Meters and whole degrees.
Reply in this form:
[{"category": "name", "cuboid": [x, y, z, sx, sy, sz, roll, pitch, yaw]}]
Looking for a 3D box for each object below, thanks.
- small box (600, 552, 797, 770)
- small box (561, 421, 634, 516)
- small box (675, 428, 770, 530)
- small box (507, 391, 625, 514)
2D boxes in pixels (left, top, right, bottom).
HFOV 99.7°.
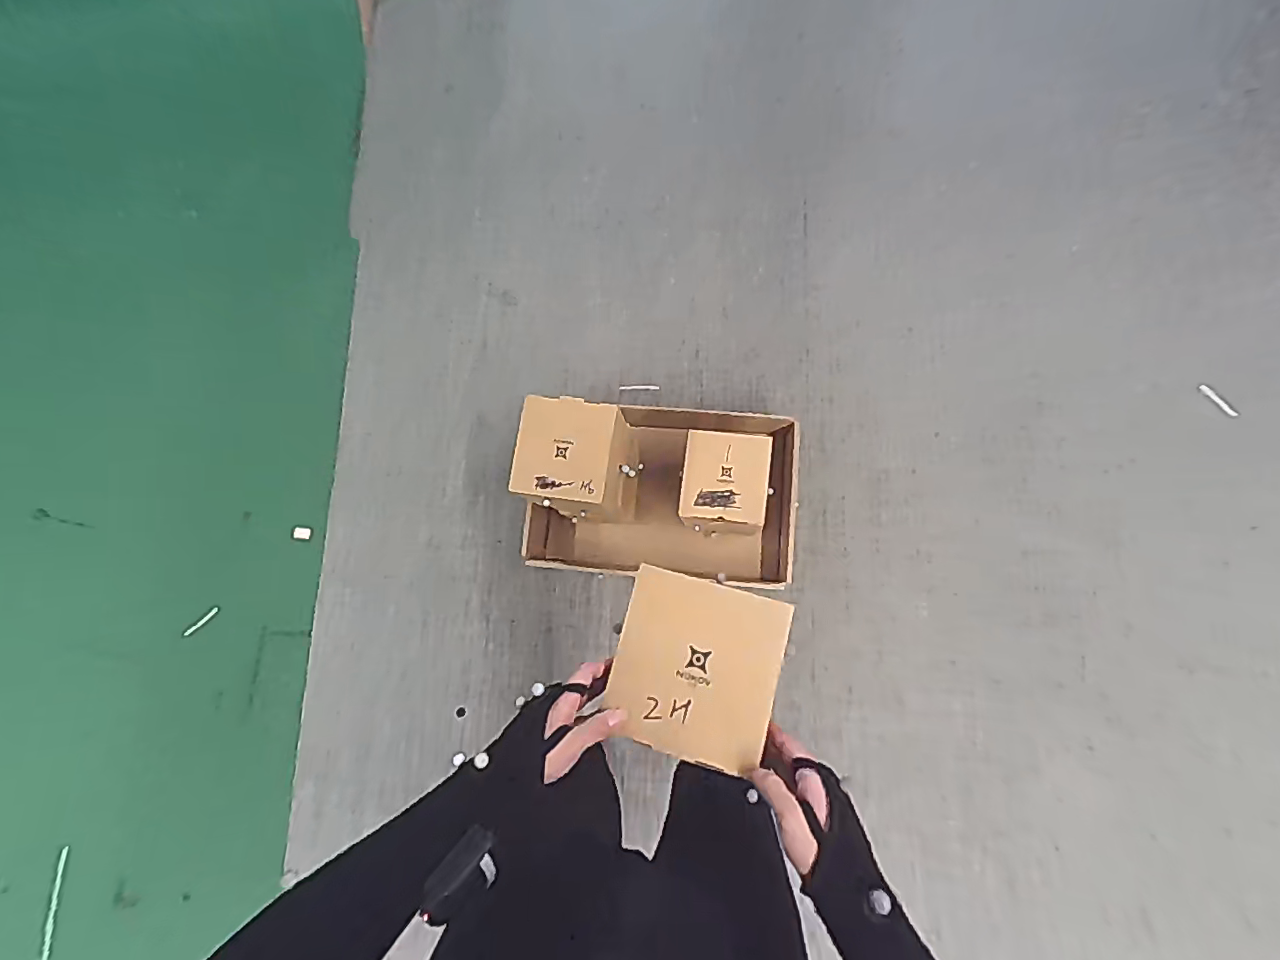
[{"category": "small box", "cuboid": [0.066, 0.193, 0.623, 0.168, 0.176, 0.179, 15, 81, 8]}, {"category": "small box", "cuboid": [-0.107, -0.026, 1.153, 0.168, 0.176, 0.179, 5, 81, 6]}, {"category": "small box", "cuboid": [0.171, 0.005, 1.115, 0.168, 0.176, 0.179, 7, 80, 9]}, {"category": "small box", "cuboid": [-0.125, -0.044, 0.990, 0.168, 0.176, 0.179, 8, 80, 6]}]
